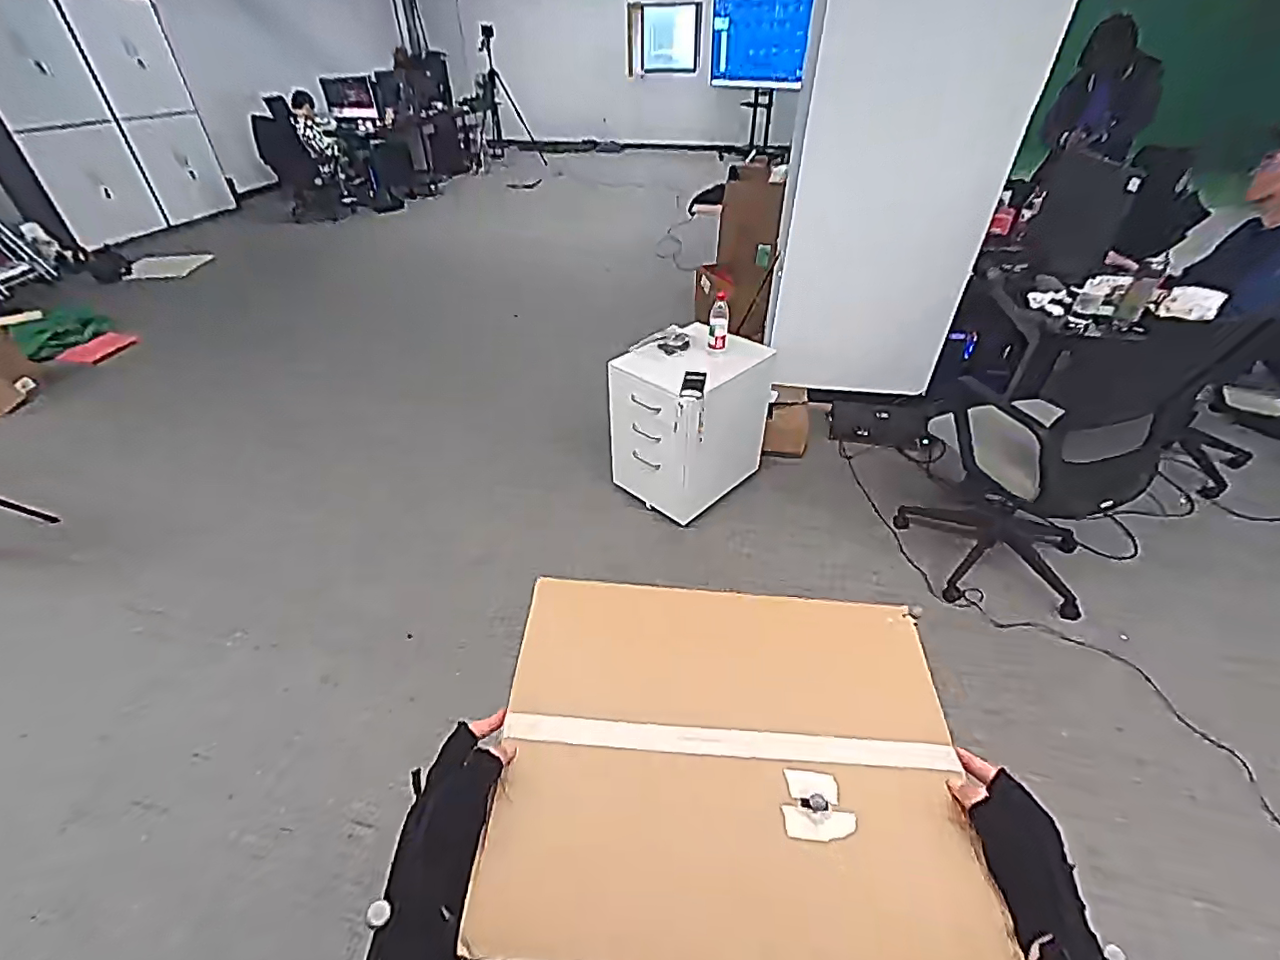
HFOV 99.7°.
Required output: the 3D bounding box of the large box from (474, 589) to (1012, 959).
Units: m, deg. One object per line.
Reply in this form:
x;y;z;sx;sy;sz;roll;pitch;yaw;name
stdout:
0.074;0.345;0.597;0.408;0.320;0.320;5;47;0;large box
